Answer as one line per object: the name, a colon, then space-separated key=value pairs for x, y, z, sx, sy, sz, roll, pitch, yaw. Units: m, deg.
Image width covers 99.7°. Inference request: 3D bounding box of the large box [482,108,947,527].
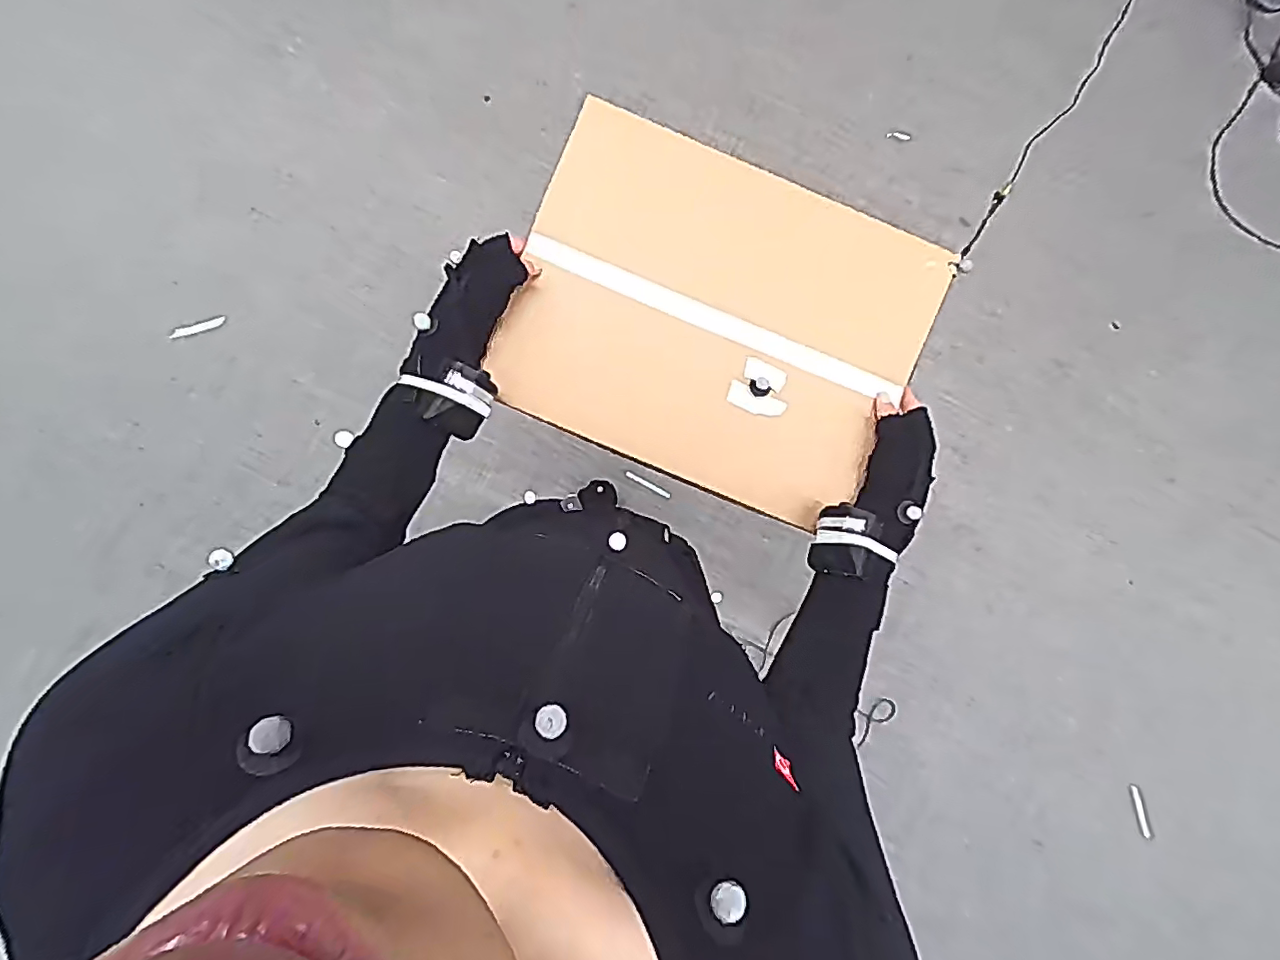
large box: x=0.072 y=-0.166 z=0.696 sx=0.408 sy=0.320 sz=0.320 roll=23 pitch=92 yaw=-2
